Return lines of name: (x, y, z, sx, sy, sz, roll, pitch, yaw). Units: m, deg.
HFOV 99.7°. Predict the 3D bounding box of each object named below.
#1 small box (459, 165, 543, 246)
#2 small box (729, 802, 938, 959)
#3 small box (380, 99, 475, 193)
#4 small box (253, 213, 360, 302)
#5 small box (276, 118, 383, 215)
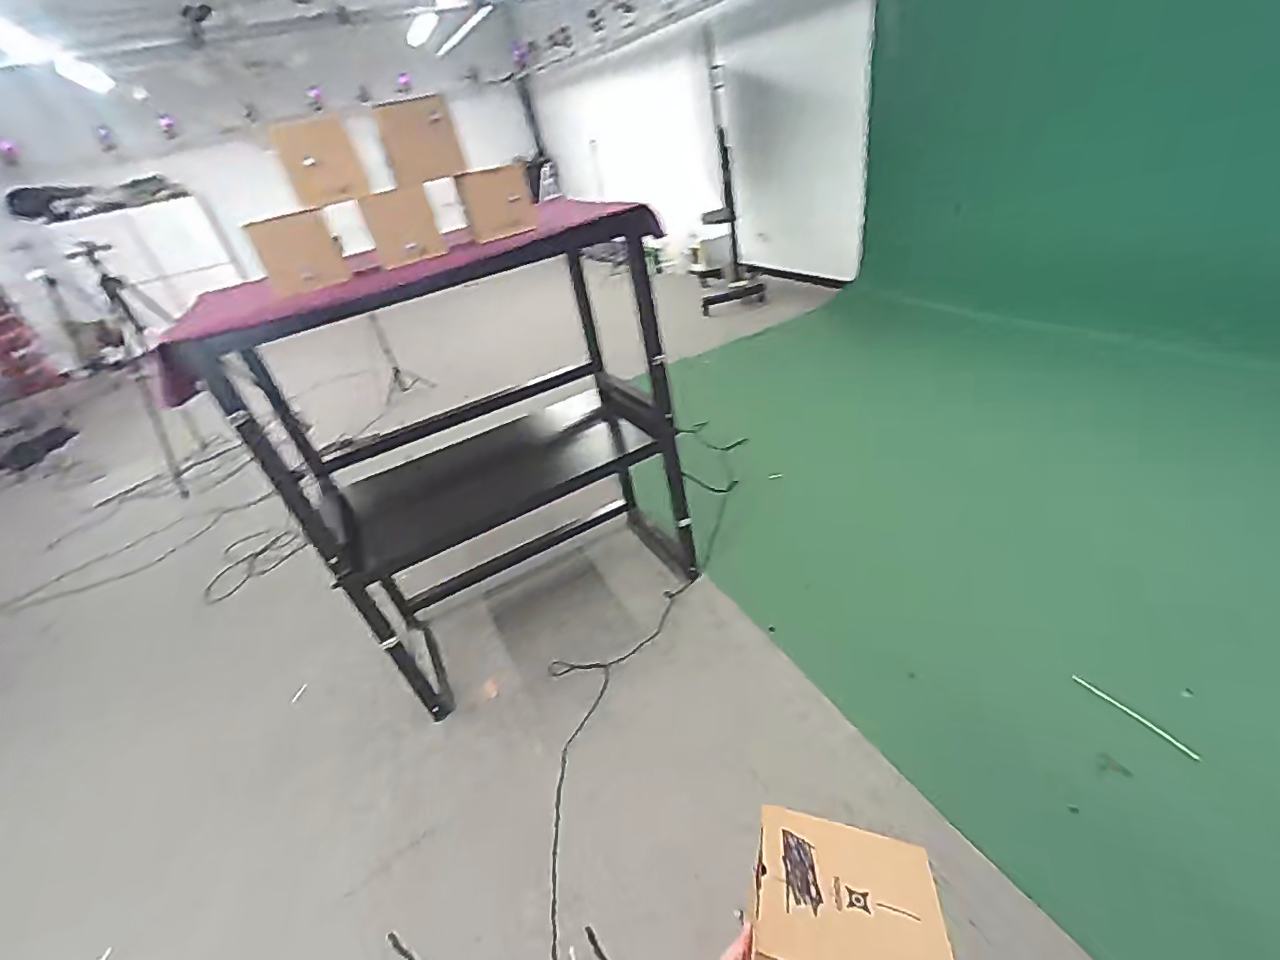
small box: (-0.383, -0.760, 1.502, 0.168, 0.176, 0.179, -22, 33, -15)
small box: (0.183, 0.480, 0.551, 0.179, 0.176, 0.168, 9, 17, 13)
small box: (-0.531, -0.838, 1.366, 0.179, 0.176, 0.168, -24, 34, -16)
small box: (-0.818, -0.559, 1.346, 0.179, 0.176, 0.168, -24, 34, -18)
small box: (-0.735, -0.743, 1.295, 0.168, 0.176, 0.179, -24, 34, -16)
